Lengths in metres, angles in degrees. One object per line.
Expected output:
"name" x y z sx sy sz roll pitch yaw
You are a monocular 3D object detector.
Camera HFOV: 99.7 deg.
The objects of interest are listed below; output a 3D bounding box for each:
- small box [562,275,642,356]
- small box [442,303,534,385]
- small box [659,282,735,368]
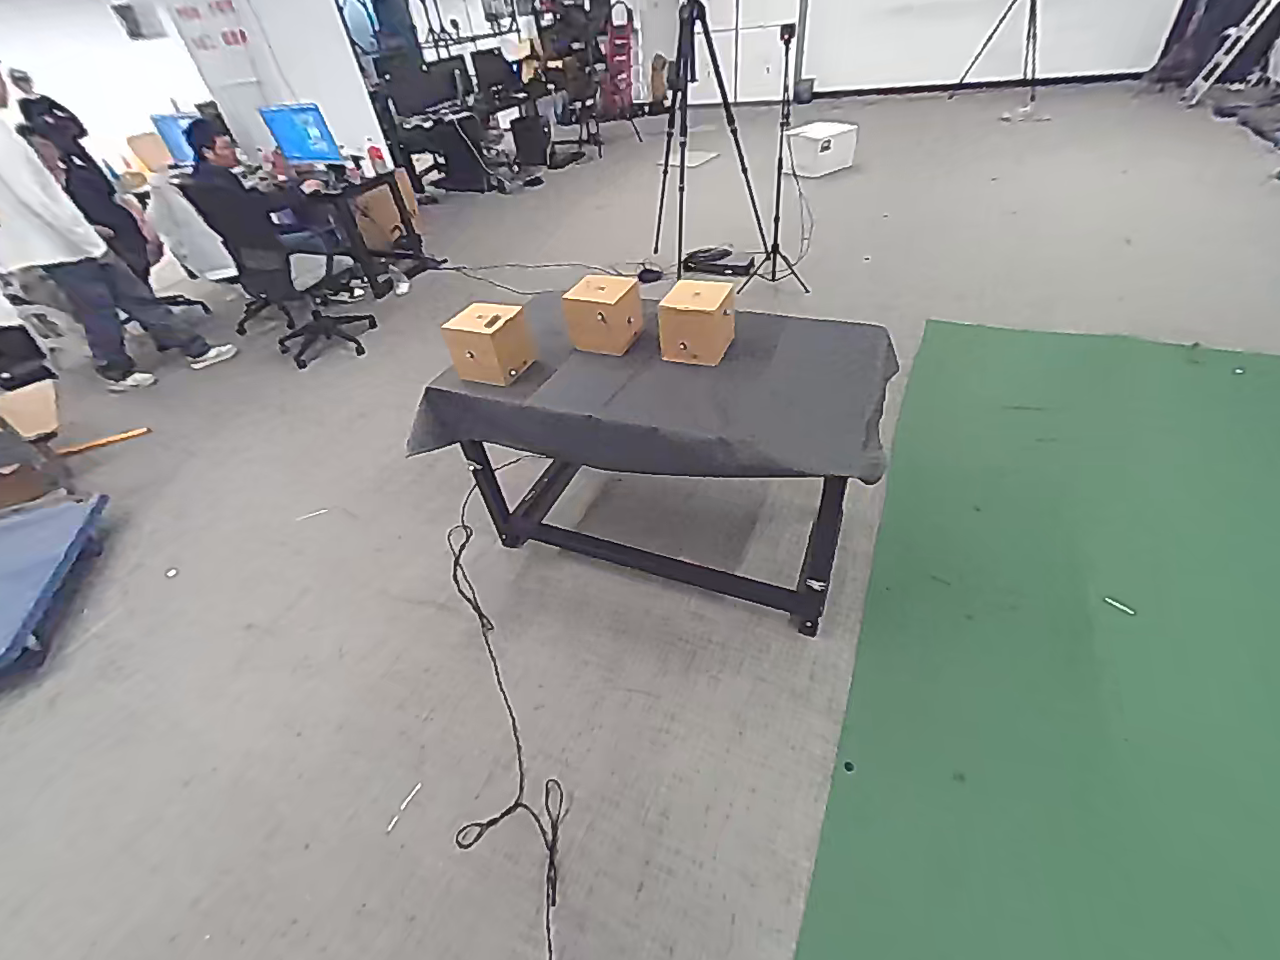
"small box" -0.106 -0.493 1.625 0.179 0.176 0.168 14 47 22
"small box" -0.430 -0.392 1.564 0.179 0.176 0.168 12 45 21
"small box" 0.164 -0.441 1.535 0.168 0.176 0.179 13 47 21
